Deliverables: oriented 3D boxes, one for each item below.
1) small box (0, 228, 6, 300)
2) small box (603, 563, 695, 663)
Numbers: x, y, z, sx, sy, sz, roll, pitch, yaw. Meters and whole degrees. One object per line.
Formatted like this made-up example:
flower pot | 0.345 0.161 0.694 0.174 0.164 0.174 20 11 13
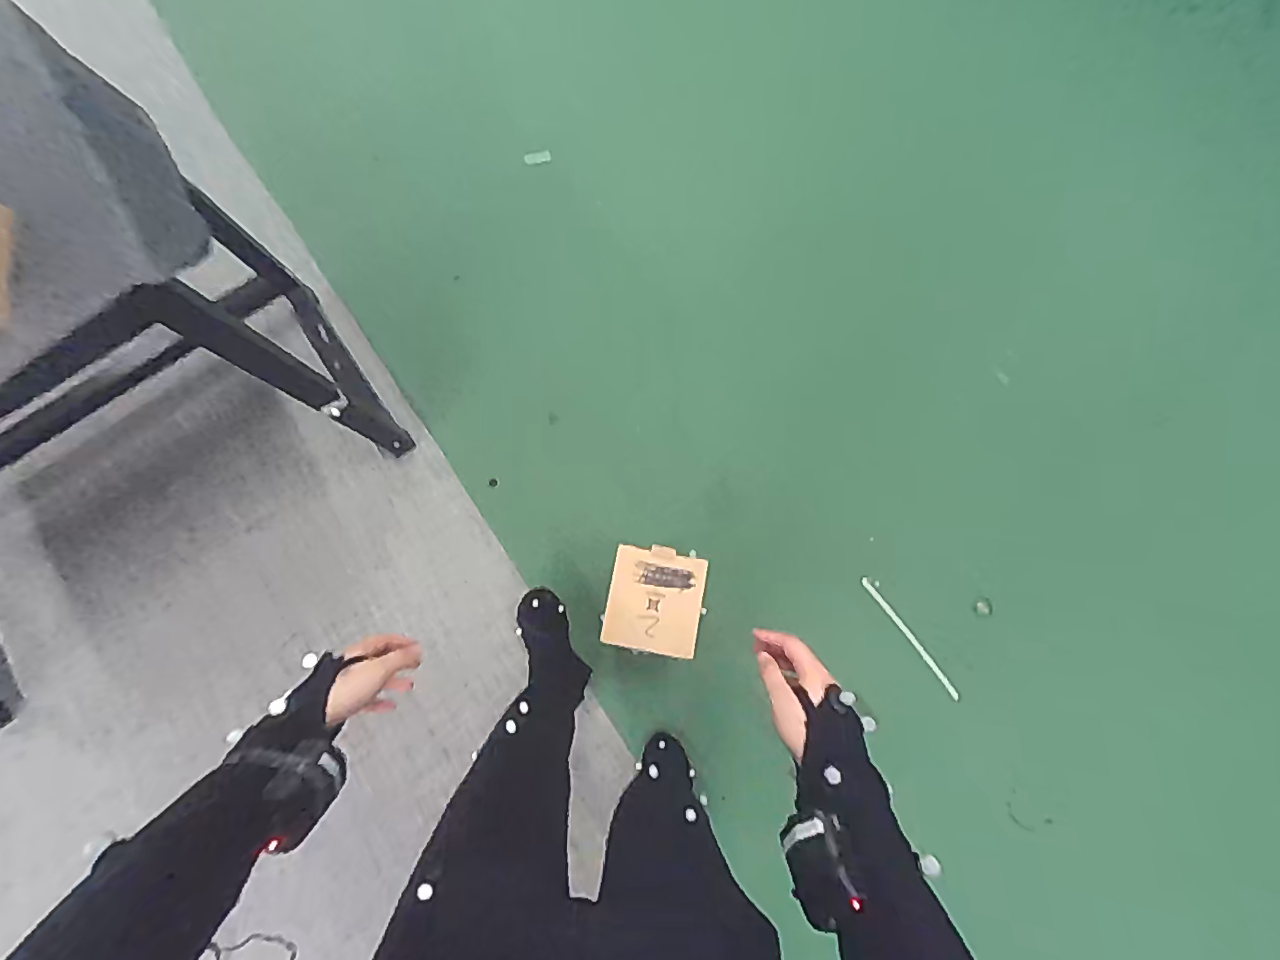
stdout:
small box | -0.878 -0.254 0.599 0.168 0.176 0.179 -16 74 -1
small box | 0.025 0.288 1.177 0.168 0.176 0.179 9 77 5
